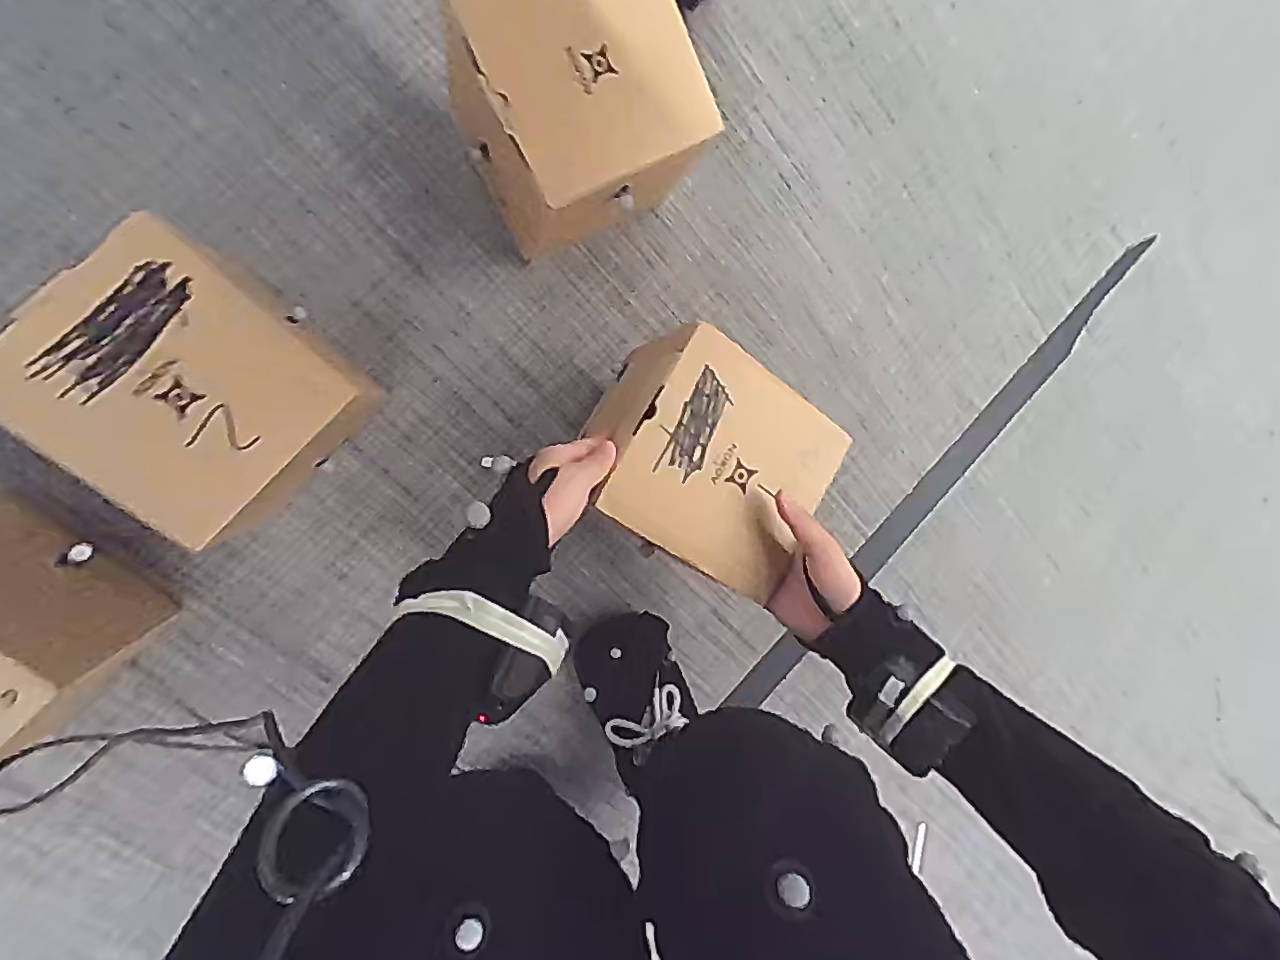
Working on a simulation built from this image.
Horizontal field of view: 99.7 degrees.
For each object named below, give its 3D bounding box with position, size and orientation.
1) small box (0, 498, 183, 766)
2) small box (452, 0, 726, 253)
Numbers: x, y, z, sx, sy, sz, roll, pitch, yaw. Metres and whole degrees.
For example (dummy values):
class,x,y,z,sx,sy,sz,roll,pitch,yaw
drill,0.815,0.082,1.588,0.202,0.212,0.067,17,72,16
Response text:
class,x,y,z,sx,sy,sz,roll,pitch,yaw
small box,-0.532,0.129,0.421,0.168,0.176,0.179,-45,106,-7
small box,-0.055,-0.340,0.503,0.179,0.176,0.168,-30,105,-10
